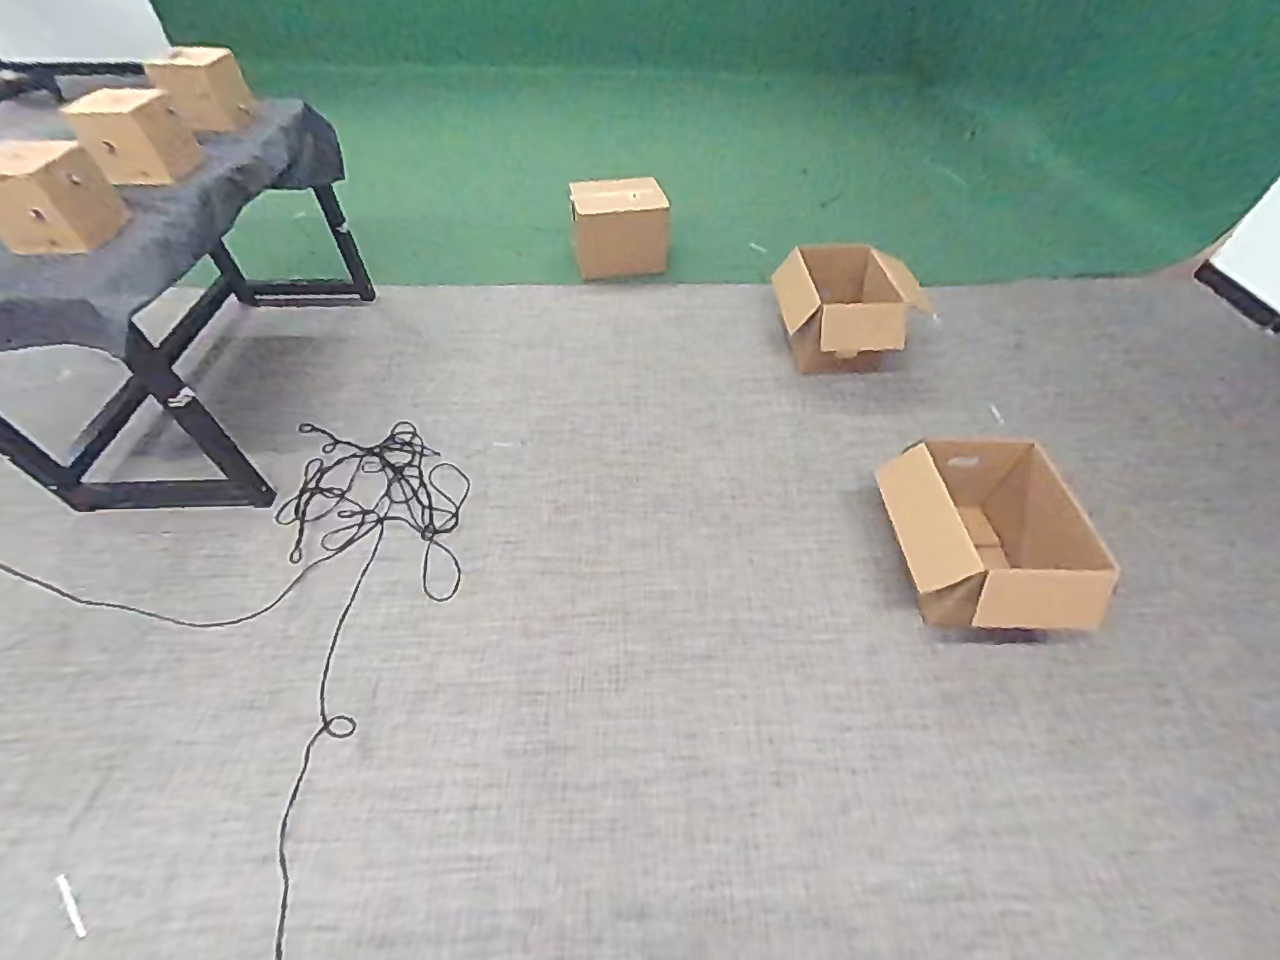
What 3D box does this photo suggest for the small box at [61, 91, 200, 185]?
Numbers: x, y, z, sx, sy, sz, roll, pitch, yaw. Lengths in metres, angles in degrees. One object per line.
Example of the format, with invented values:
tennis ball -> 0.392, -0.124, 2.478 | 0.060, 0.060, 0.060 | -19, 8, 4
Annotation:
small box -> -1.299, -0.883, 1.399 | 0.168, 0.176, 0.179 | -1, 50, -2

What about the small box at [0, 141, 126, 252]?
small box -> -1.286, -0.609, 1.168 | 0.168, 0.176, 0.179 | -1, 49, -4
